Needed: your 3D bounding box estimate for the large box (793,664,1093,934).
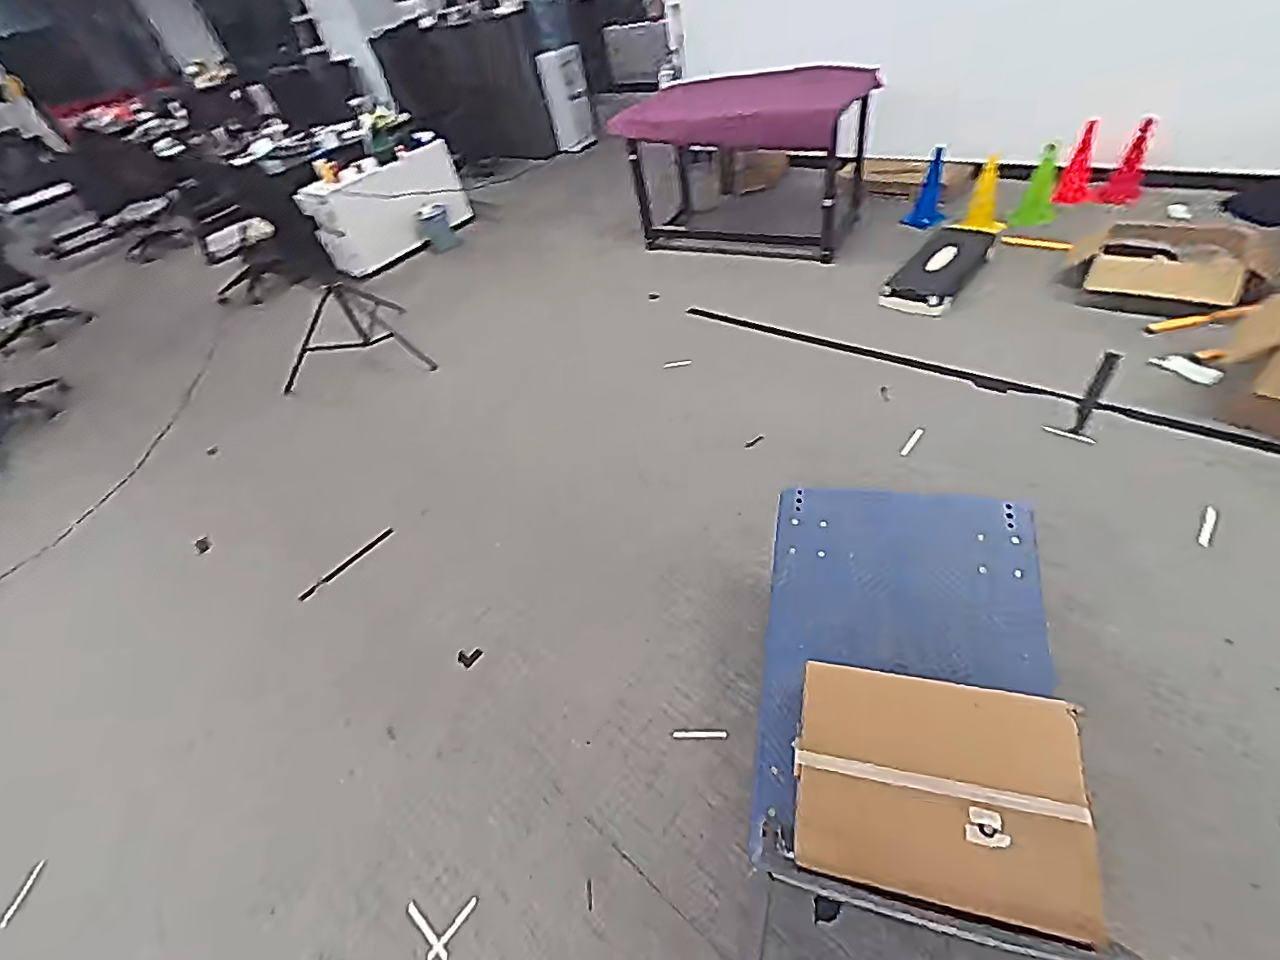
[{"bbox_3d":[0.496,0.549,0.990,0.408,0.320,0.320,4,65,17],"label":"large box"}]
